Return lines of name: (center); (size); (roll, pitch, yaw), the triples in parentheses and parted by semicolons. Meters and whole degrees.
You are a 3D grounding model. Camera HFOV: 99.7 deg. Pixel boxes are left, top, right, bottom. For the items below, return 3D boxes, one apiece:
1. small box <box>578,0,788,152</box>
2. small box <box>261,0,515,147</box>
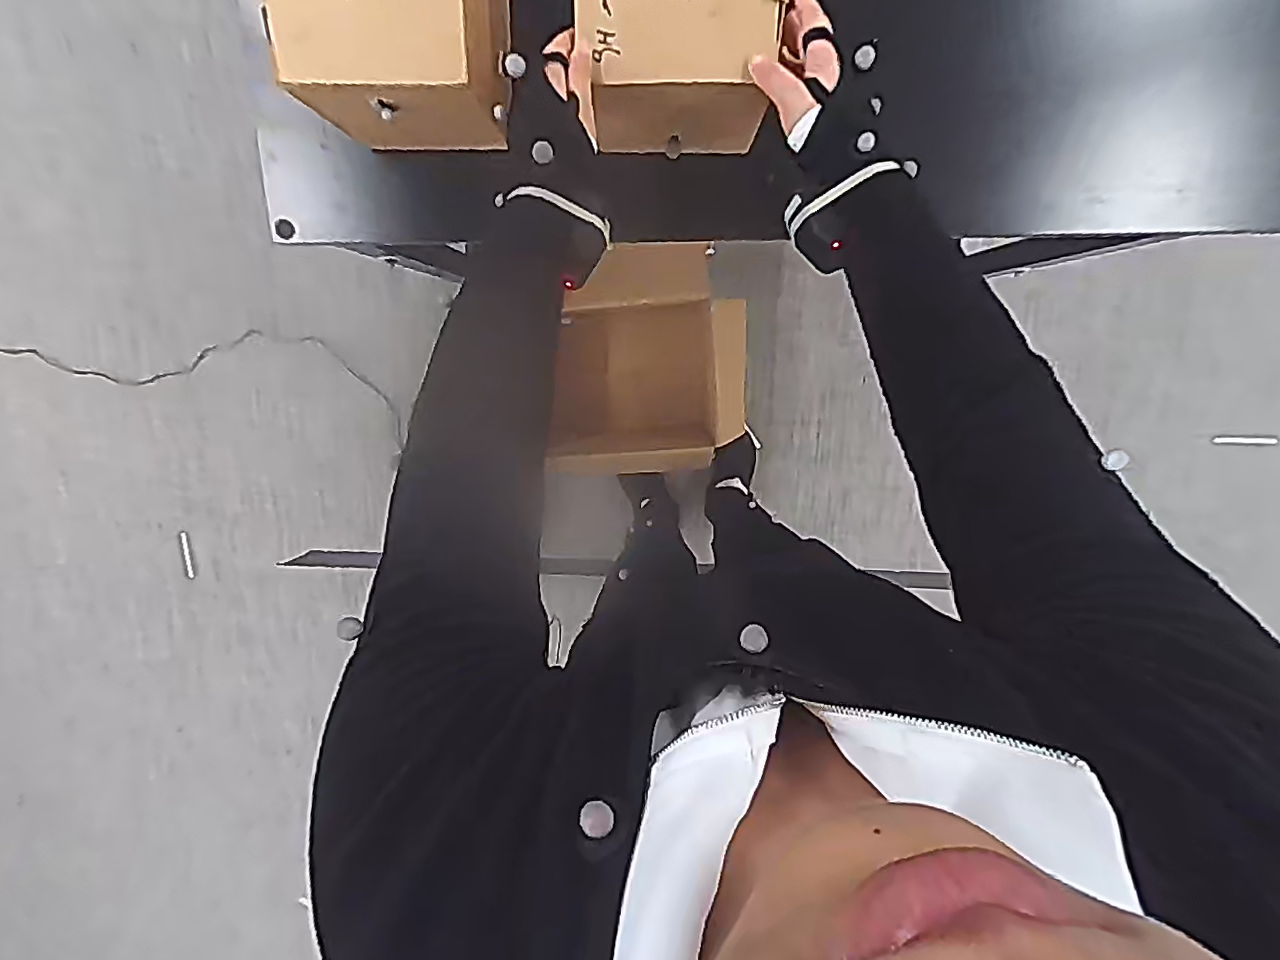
small box: (0.036, -0.435, 0.518); (0.179, 0.176, 0.168); (1, 103, 1)
small box: (-0.231, -0.441, 0.524); (0.179, 0.176, 0.168); (0, 105, 1)
